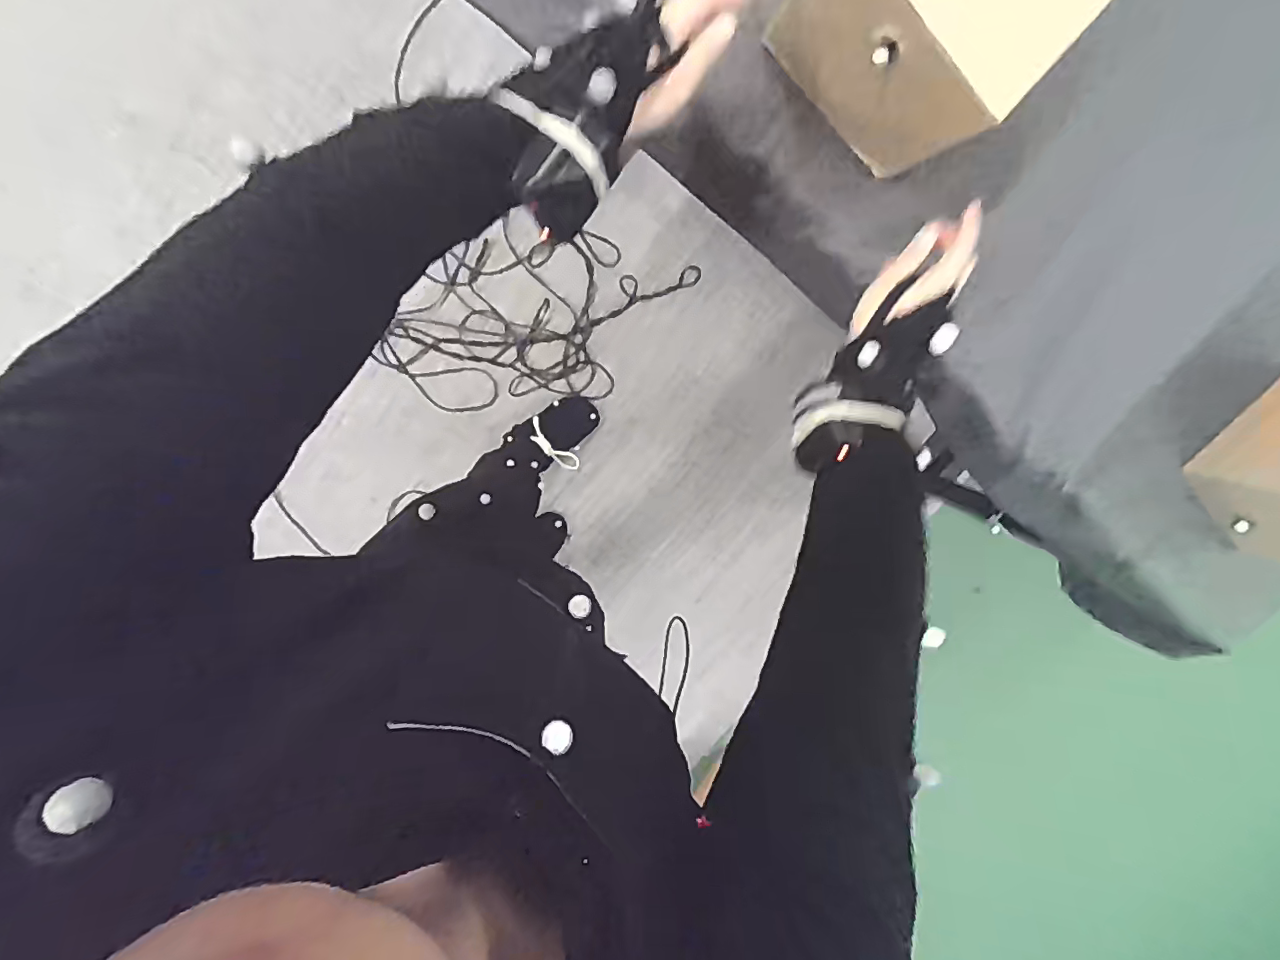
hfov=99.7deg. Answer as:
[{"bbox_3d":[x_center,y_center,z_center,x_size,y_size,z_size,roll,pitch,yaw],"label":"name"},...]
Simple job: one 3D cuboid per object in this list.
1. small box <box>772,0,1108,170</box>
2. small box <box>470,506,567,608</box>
[{"bbox_3d":[0.237,-0.390,0.432,0.179,0.176,0.168,40,98,-16],"label":"small box"},{"bbox_3d":[-0.276,0.170,1.246,0.176,0.168,0.179,4,106,10],"label":"small box"}]
